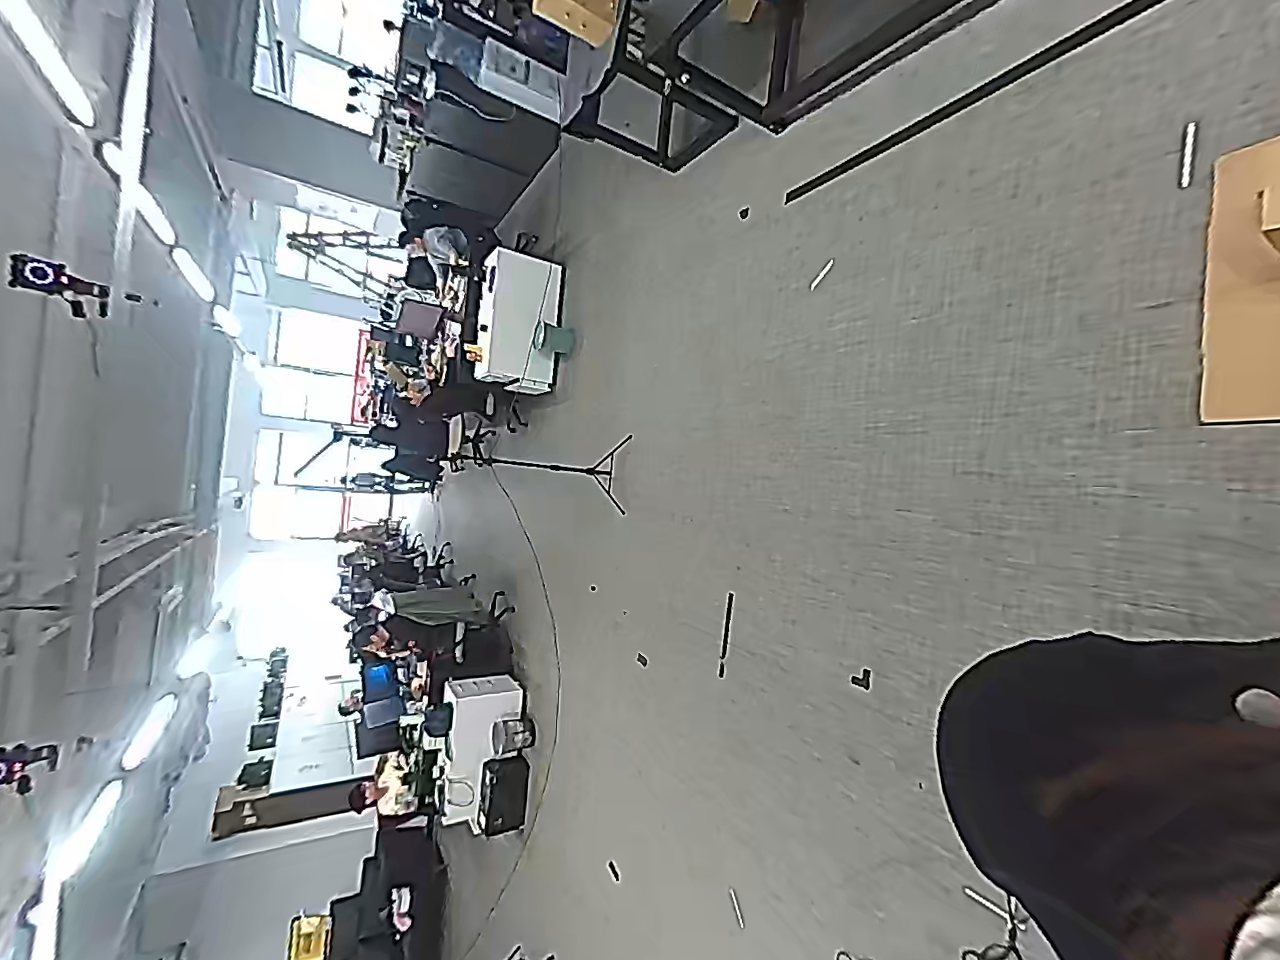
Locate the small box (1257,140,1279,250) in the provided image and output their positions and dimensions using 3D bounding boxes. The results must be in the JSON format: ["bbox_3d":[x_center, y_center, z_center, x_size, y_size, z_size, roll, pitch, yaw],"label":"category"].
[{"bbox_3d":[1.312,-0.555,1.019,0.168,0.176,0.179,2,87,60],"label":"small box"}]
